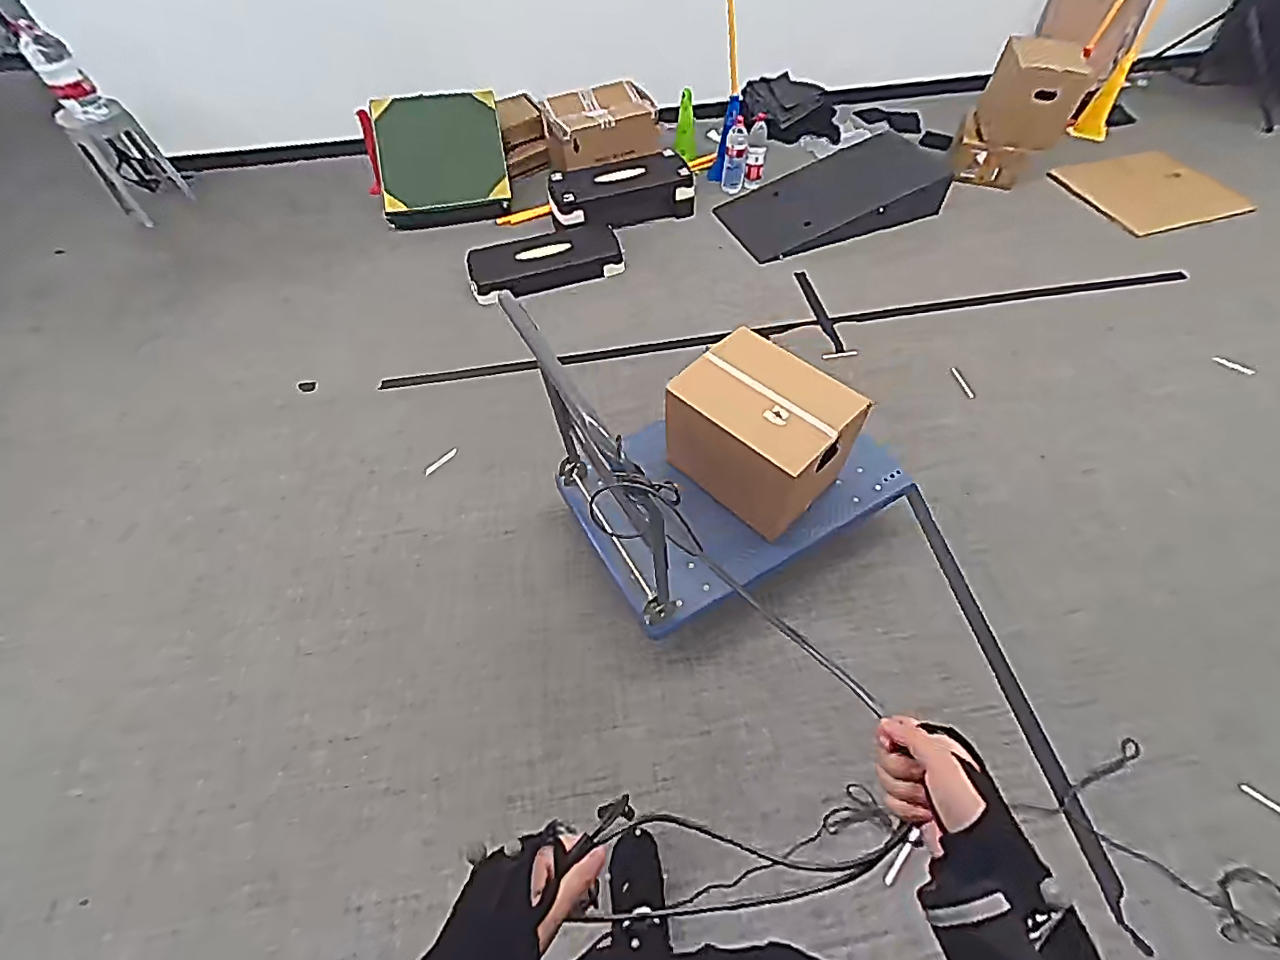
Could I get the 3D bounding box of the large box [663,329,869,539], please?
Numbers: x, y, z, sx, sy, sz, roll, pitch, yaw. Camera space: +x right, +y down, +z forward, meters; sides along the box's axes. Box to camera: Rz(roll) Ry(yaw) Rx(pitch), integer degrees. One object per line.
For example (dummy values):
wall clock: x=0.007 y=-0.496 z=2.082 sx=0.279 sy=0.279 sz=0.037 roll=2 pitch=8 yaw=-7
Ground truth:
large box: x=0.307 y=-0.123 z=1.439 sx=0.408 sy=0.320 sz=0.320 roll=39 pitch=67 yaw=24
